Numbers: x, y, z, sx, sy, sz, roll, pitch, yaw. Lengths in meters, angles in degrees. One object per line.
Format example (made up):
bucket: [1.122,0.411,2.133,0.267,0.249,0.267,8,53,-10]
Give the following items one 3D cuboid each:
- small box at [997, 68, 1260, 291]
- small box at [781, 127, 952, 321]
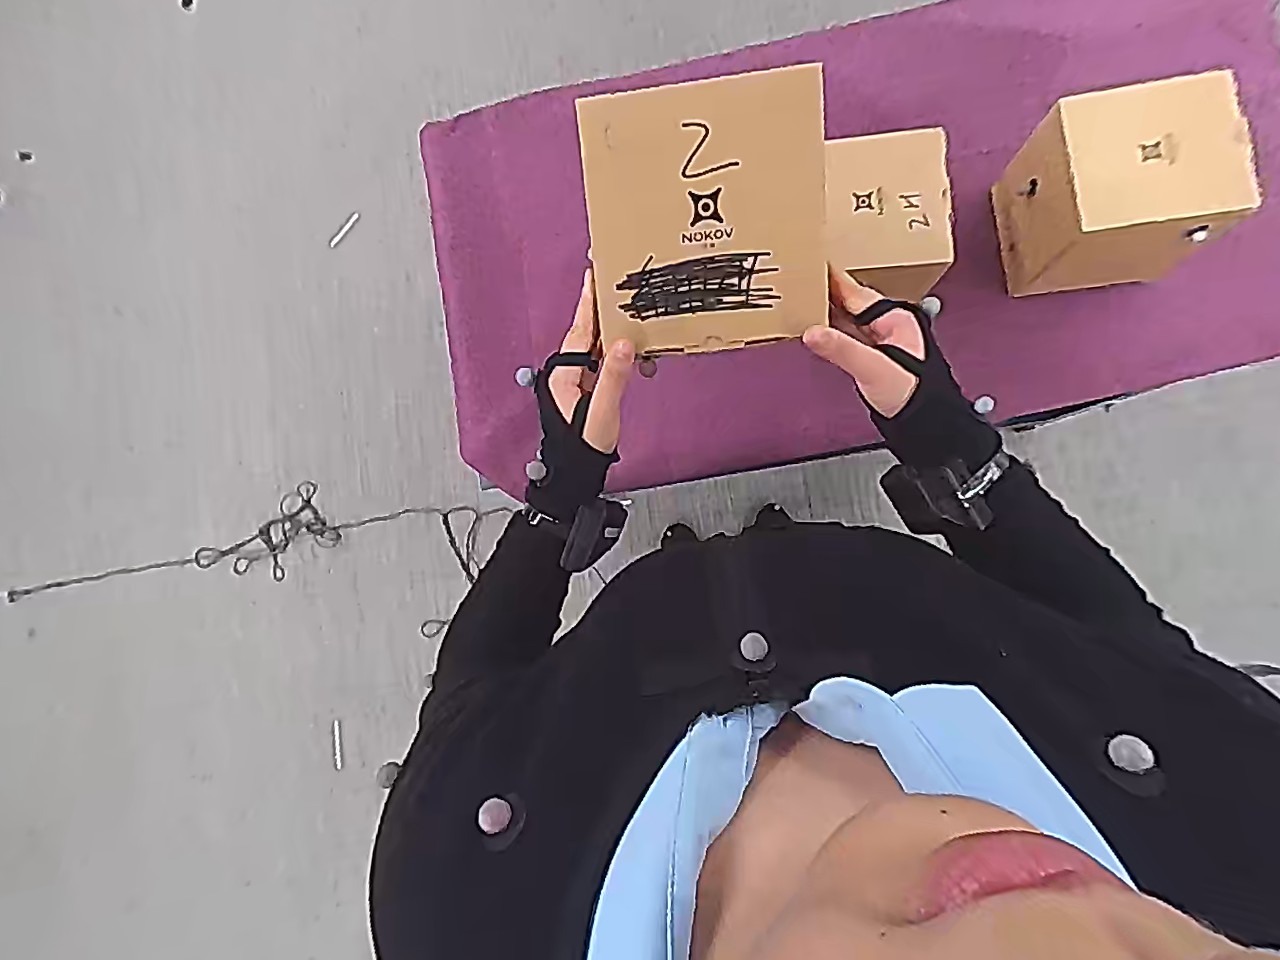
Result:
small box: [0.576,-0.353,0.671,0.179,0.176,0.168,-6,83,8]
small box: [0.280,-0.319,0.711,0.179,0.176,0.168,-1,85,8]
